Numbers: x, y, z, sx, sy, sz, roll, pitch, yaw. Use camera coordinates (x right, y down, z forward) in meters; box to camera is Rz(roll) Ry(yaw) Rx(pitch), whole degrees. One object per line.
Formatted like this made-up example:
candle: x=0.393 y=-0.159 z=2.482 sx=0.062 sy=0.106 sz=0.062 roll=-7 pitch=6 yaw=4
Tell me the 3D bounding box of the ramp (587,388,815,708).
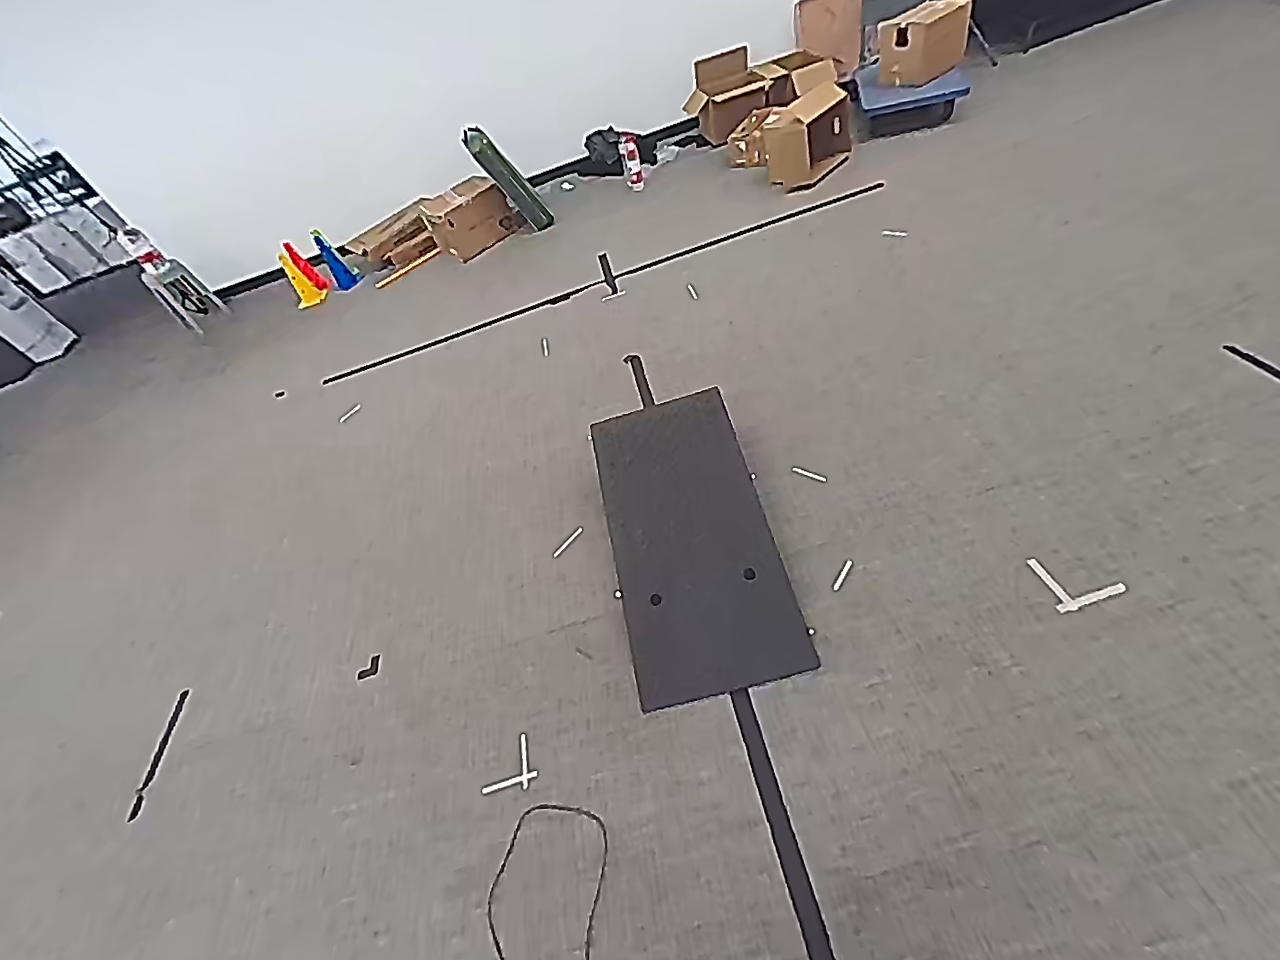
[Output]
ramp: x=0.137 y=0.144 z=1.704 sx=0.509 sy=0.206 sz=0.991 roll=-17 pitch=47 yaw=3
